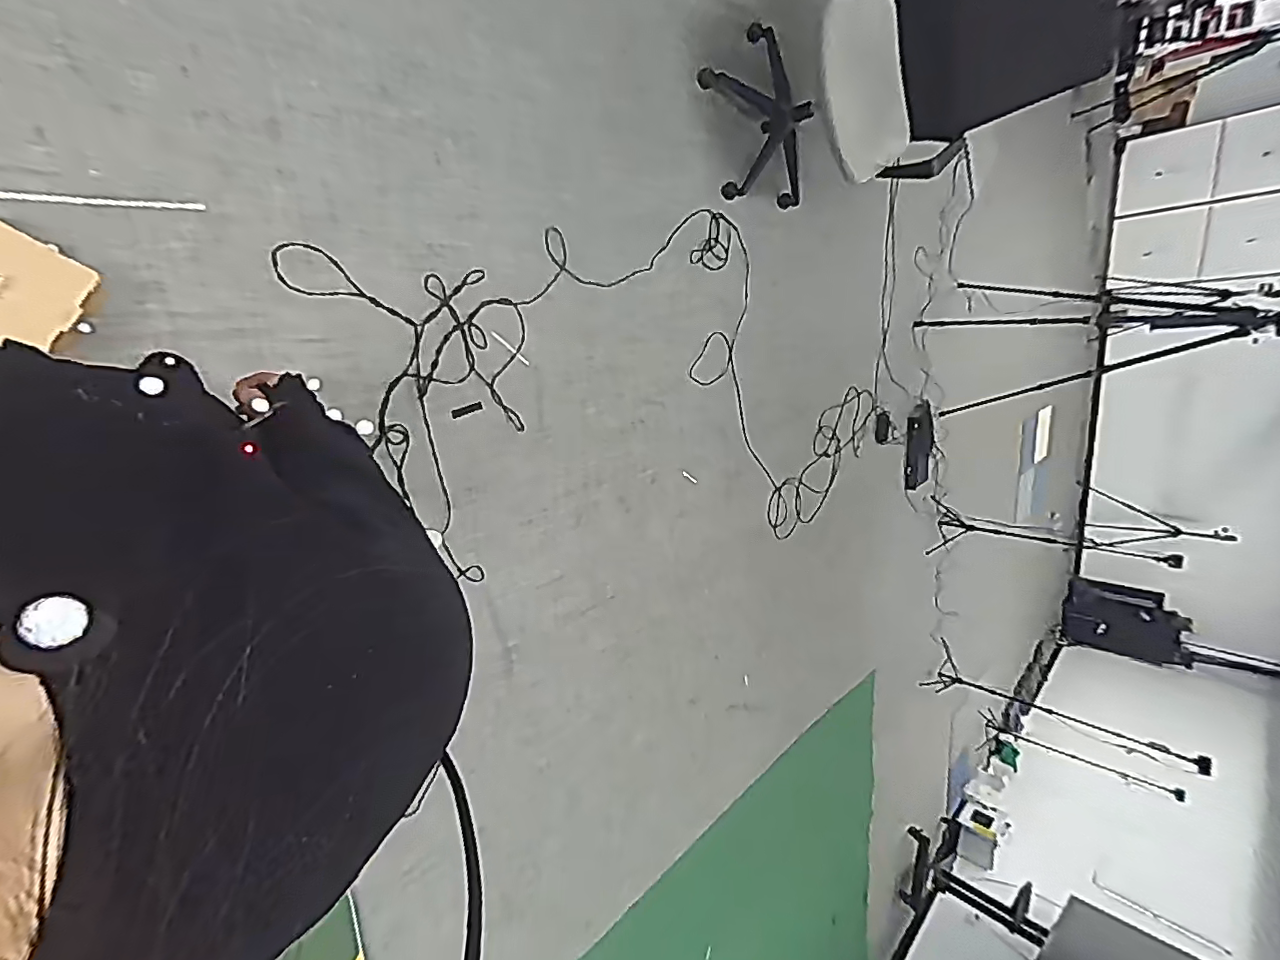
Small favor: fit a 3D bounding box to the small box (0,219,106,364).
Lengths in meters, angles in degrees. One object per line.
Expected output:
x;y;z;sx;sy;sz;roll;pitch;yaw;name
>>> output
-0.981;-0.297;0.837;0.179;0.176;0.168;35;73;-41;small box
